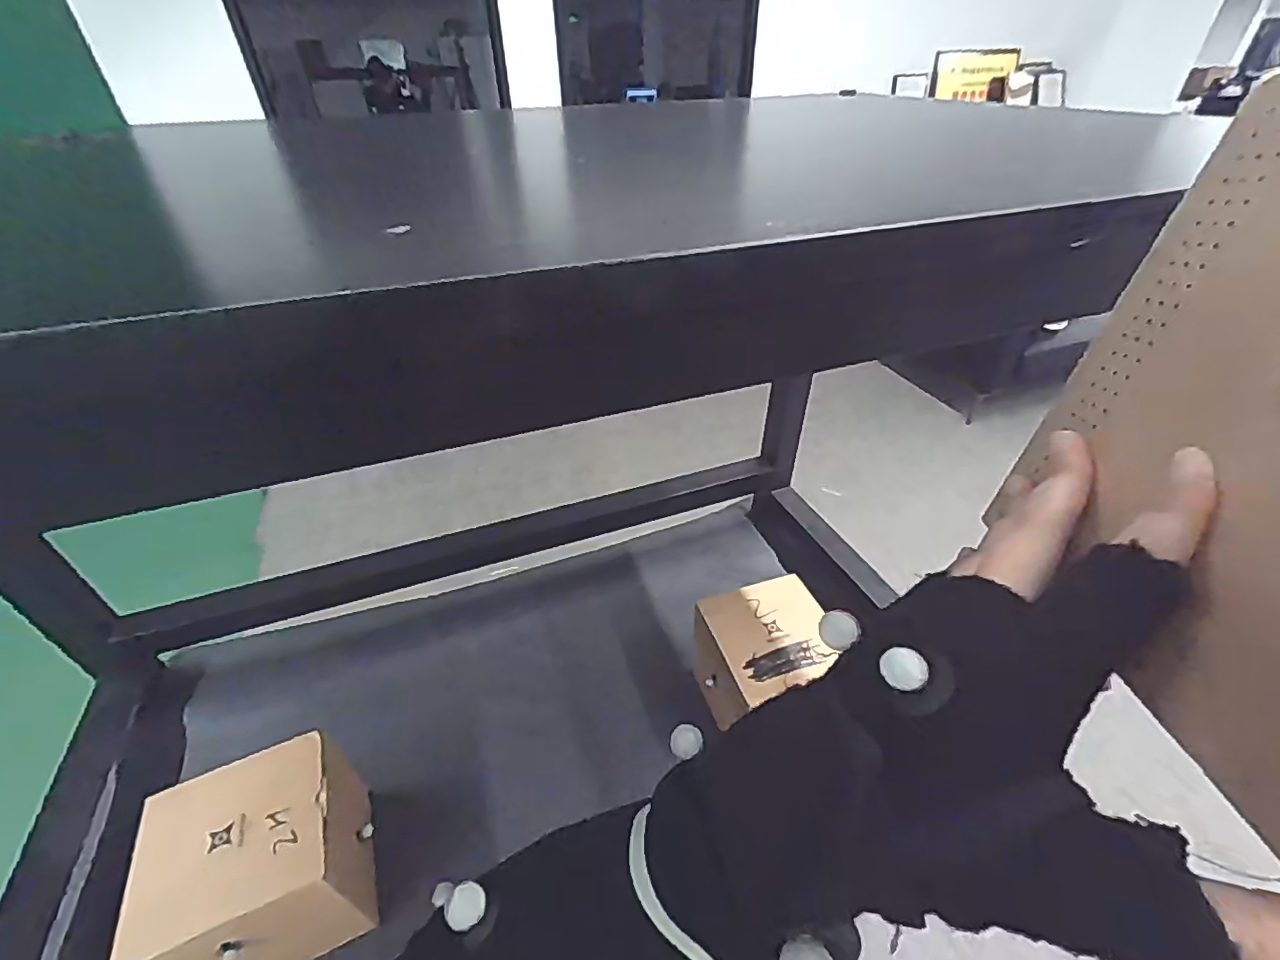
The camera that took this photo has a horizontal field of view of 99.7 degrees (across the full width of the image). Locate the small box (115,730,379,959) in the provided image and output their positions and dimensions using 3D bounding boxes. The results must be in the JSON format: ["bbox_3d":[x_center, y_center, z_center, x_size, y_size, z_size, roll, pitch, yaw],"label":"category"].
[{"bbox_3d":[-0.415,0.427,0.605,0.179,0.176,0.168,-16,41,-20],"label":"small box"}]
